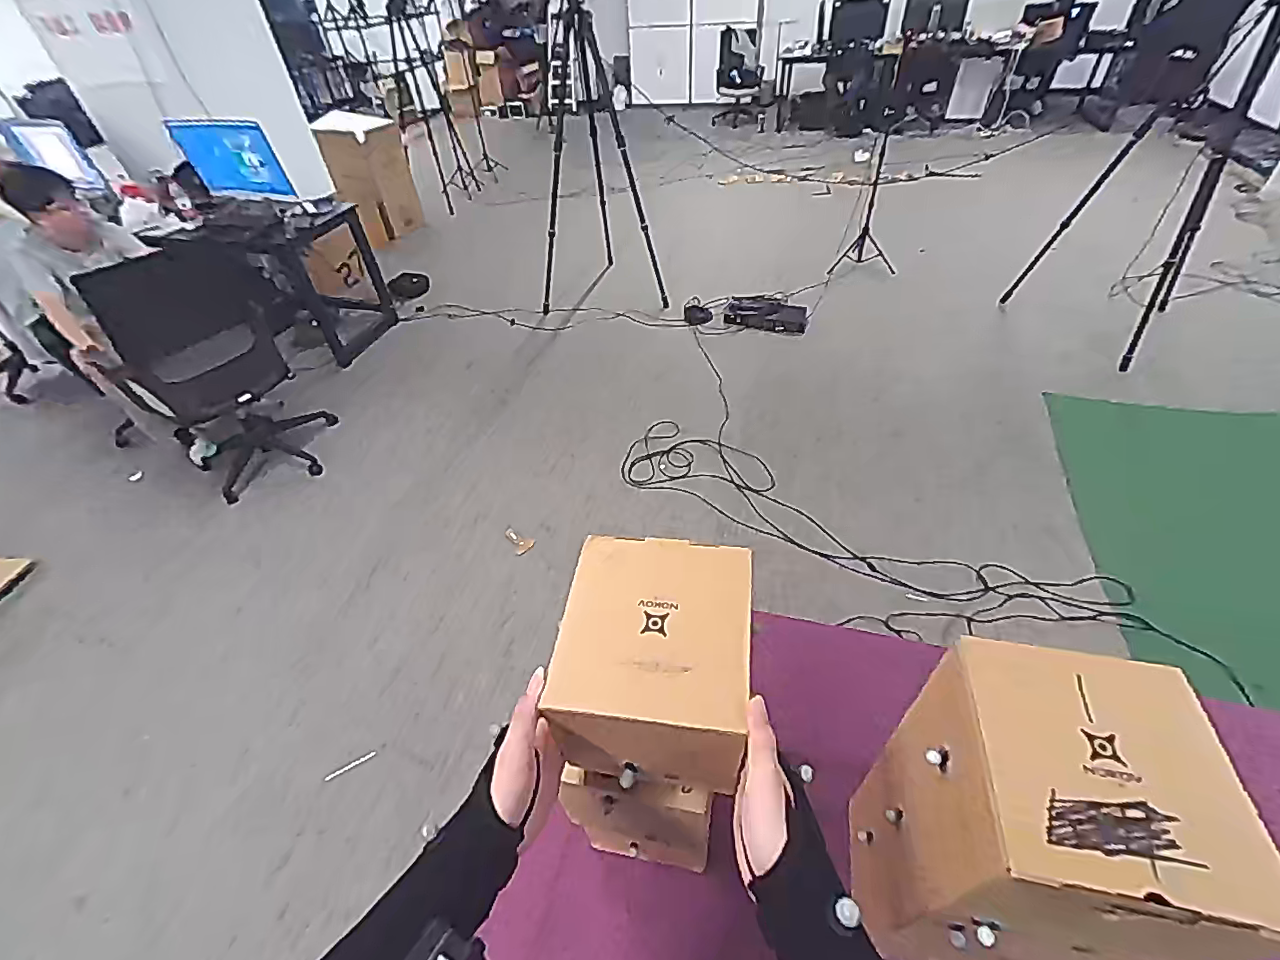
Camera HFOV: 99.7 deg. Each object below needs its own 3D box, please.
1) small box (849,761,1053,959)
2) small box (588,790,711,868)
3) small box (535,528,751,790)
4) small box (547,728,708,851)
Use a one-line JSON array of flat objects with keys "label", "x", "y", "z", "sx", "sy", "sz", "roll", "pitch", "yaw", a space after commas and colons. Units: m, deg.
[{"label": "small box", "x": 0.360, "y": 0.484, "z": 0.666, "sx": 0.168, "sy": 0.176, "sz": 0.179, "roll": 7, "pitch": 45, "yaw": 13}, {"label": "small box", "x": 0.018, "y": 0.417, "z": 0.770, "sx": 0.168, "sy": 0.176, "sz": 0.179, "roll": 5, "pitch": 45, "yaw": 10}, {"label": "small box", "x": 0.015, "y": 0.171, "z": 0.523, "sx": 0.168, "sy": 0.176, "sz": 0.179, "roll": 4, "pitch": 47, "yaw": 9}, {"label": "small box", "x": 0.004, "y": 0.308, "z": 0.648, "sx": 0.168, "sy": 0.176, "sz": 0.179, "roll": 6, "pitch": 44, "yaw": 12}]
